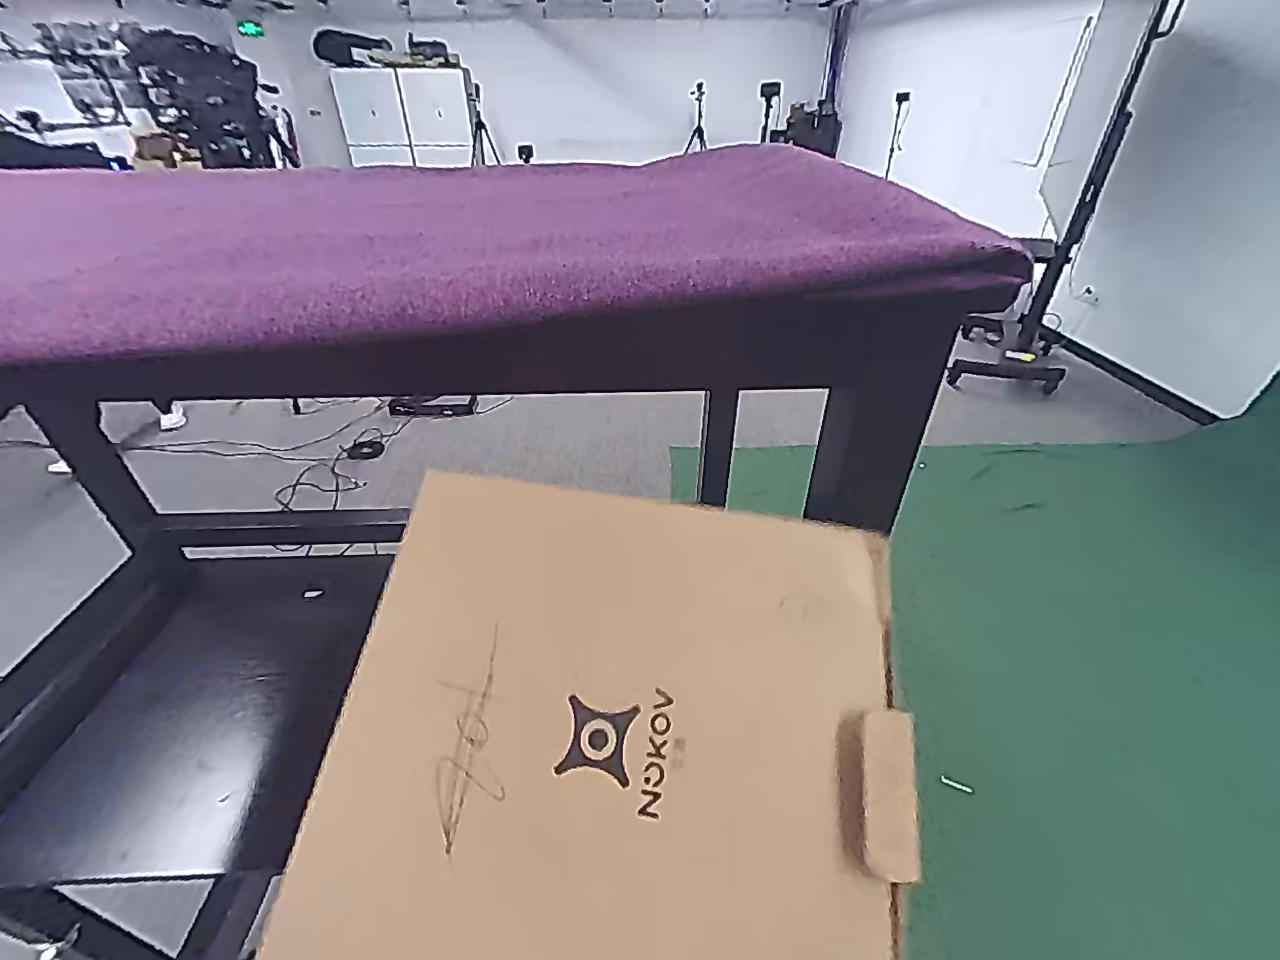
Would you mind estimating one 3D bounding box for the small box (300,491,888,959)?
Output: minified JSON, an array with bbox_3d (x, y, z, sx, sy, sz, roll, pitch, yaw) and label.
[{"bbox_3d":[-0.003,0.121,0.258,0.179,0.176,0.168,7,65,6],"label":"small box"}]
